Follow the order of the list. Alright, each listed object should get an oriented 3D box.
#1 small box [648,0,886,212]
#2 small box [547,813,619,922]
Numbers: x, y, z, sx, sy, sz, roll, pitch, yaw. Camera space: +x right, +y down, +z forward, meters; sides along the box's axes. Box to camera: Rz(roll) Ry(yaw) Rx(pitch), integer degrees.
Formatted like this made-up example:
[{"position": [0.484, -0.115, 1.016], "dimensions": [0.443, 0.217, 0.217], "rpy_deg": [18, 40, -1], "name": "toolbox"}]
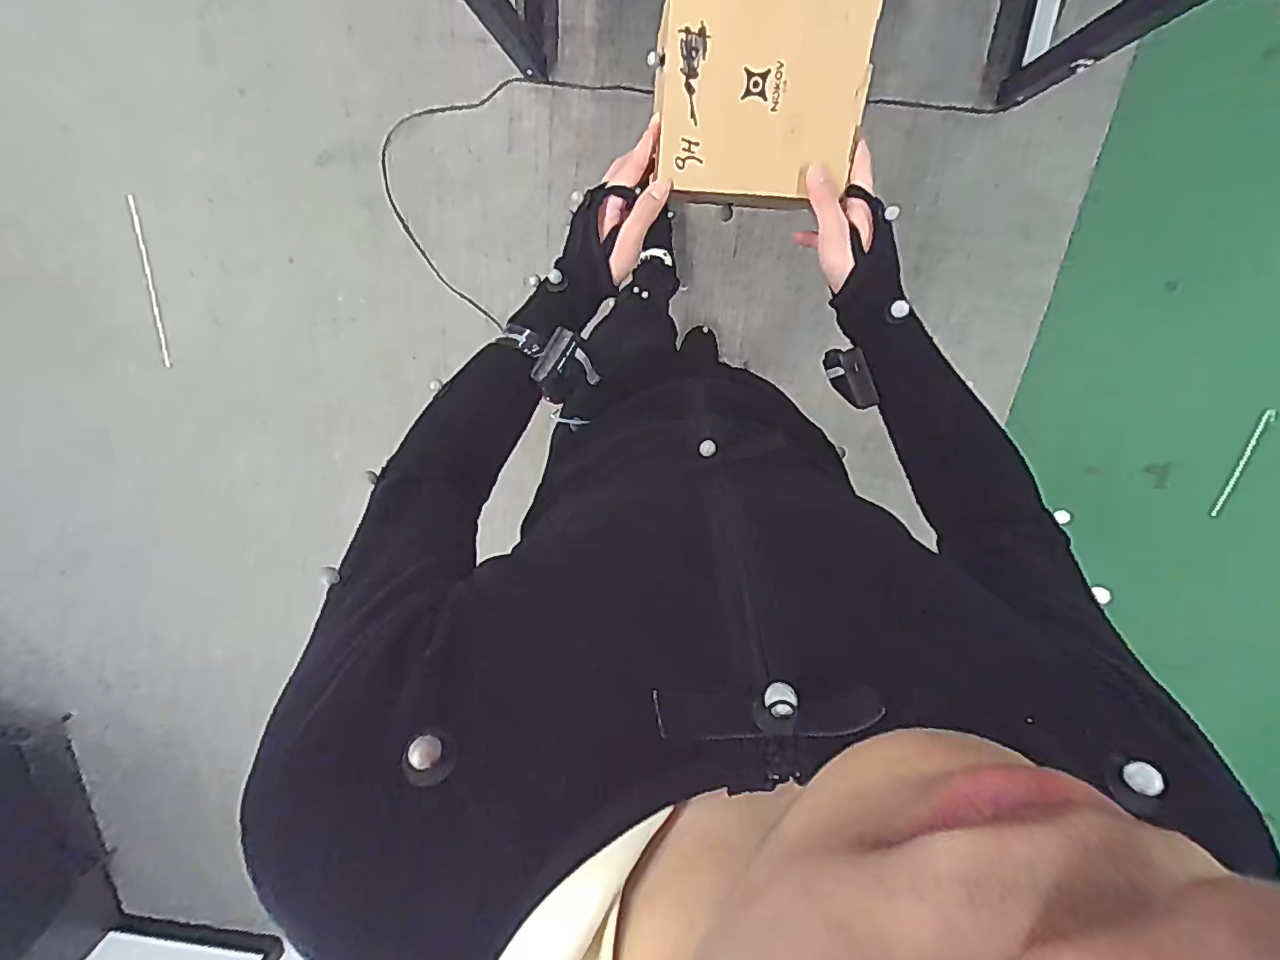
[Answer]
[{"position": [0.105, -0.365, 0.534], "dimensions": [0.179, 0.176, 0.168], "rpy_deg": [3, 113, -3], "name": "small box"}, {"position": [-0.156, 1.093, 1.533], "dimensions": [0.168, 0.176, 0.179], "rpy_deg": [9, 109, 3], "name": "small box"}]
